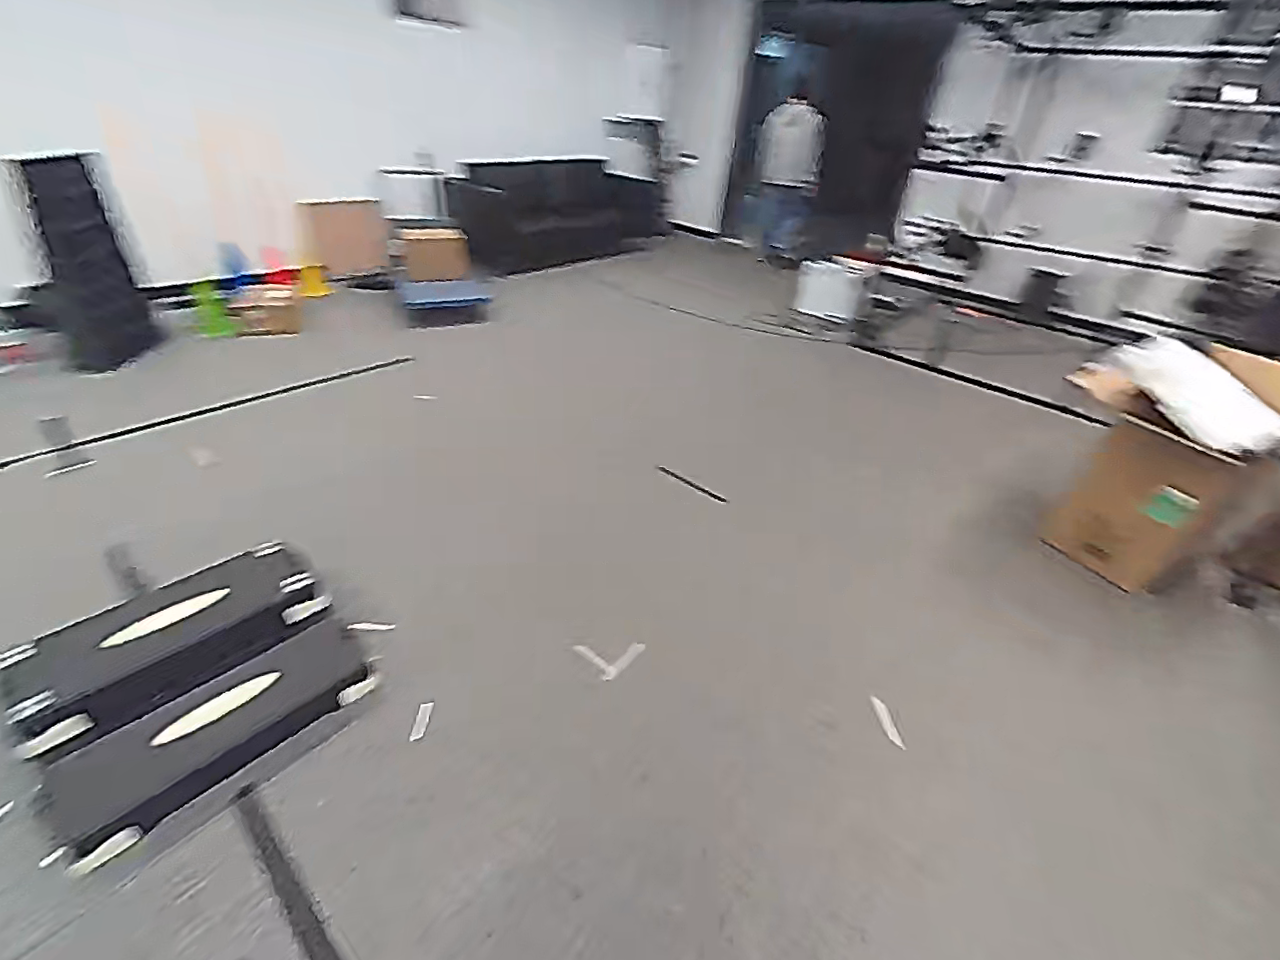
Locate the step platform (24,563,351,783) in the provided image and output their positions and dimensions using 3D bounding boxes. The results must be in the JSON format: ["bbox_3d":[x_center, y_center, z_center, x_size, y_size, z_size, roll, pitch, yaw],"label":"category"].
[{"bbox_3d":[-1.216,0.497,1.516,0.684,0.204,0.286,-24,43,-38],"label":"step platform"}]
